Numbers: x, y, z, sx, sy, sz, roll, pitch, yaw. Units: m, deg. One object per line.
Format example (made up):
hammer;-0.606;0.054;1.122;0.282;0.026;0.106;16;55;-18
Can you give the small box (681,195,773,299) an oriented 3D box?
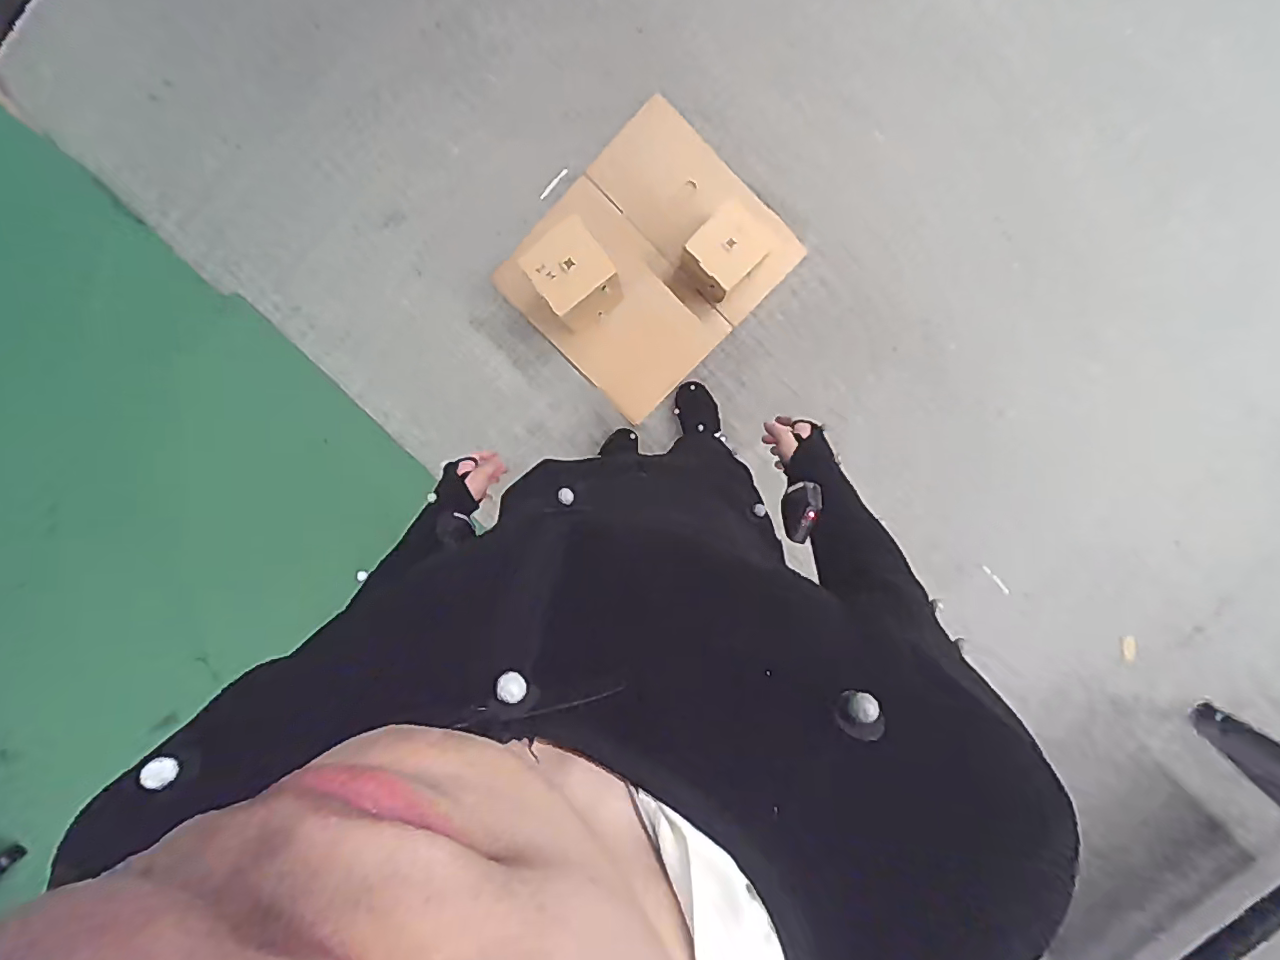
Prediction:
small box;0.226;-0.612;1.450;0.179;0.176;0.168;-44;95;8

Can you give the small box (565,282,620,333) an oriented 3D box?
small box;-0.169;-0.527;1.475;0.179;0.176;0.168;-37;95;6

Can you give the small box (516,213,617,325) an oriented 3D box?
small box;-0.168;-0.500;1.311;0.179;0.176;0.168;-37;95;7
